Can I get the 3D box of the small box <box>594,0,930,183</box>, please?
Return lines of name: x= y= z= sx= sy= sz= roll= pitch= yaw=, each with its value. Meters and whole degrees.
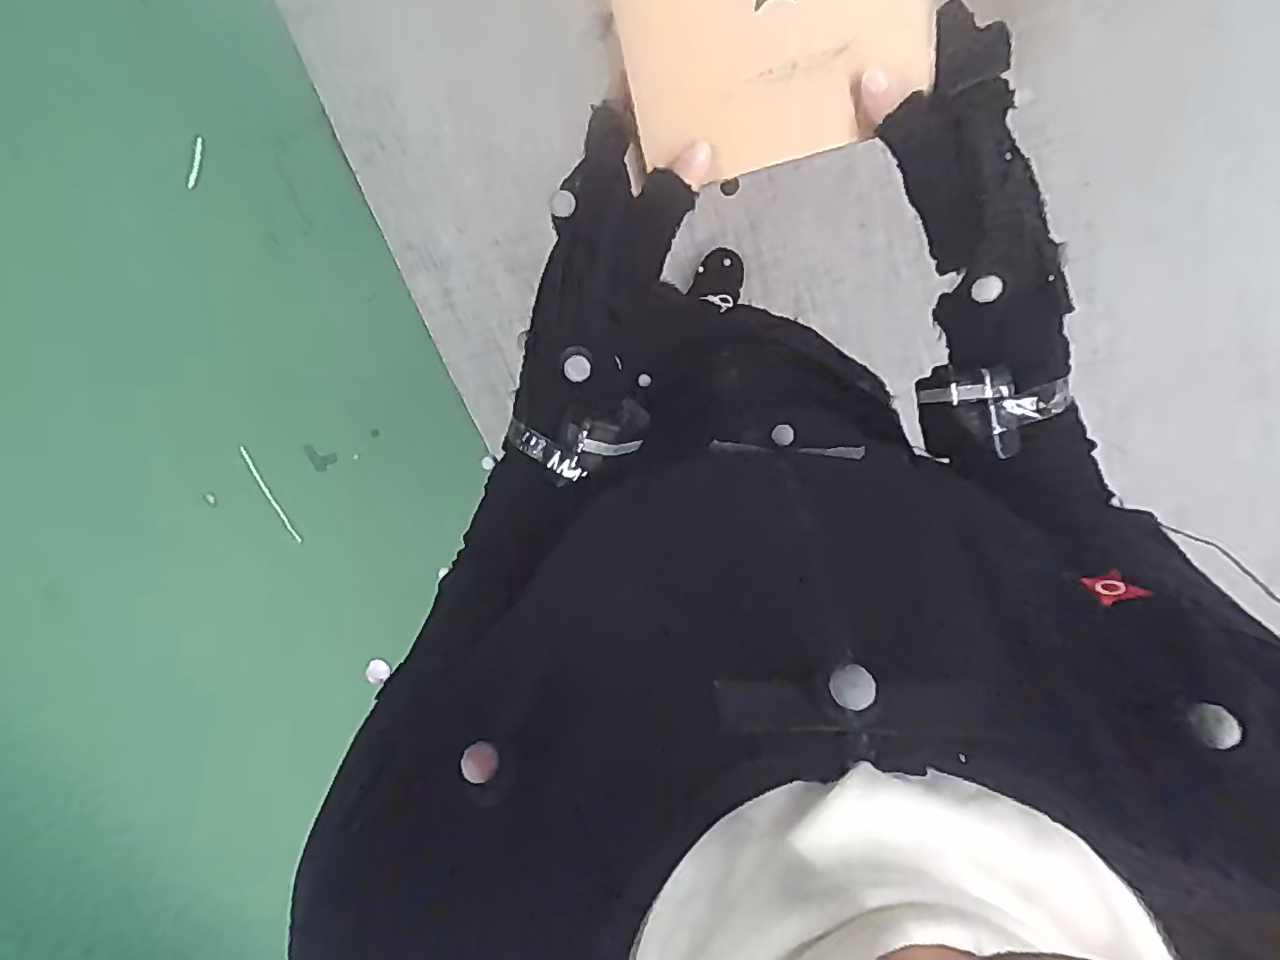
small box: x=0.059 y=-0.304 z=0.342 sx=0.168 sy=0.176 sz=0.179 roll=-14 pitch=119 yaw=5
